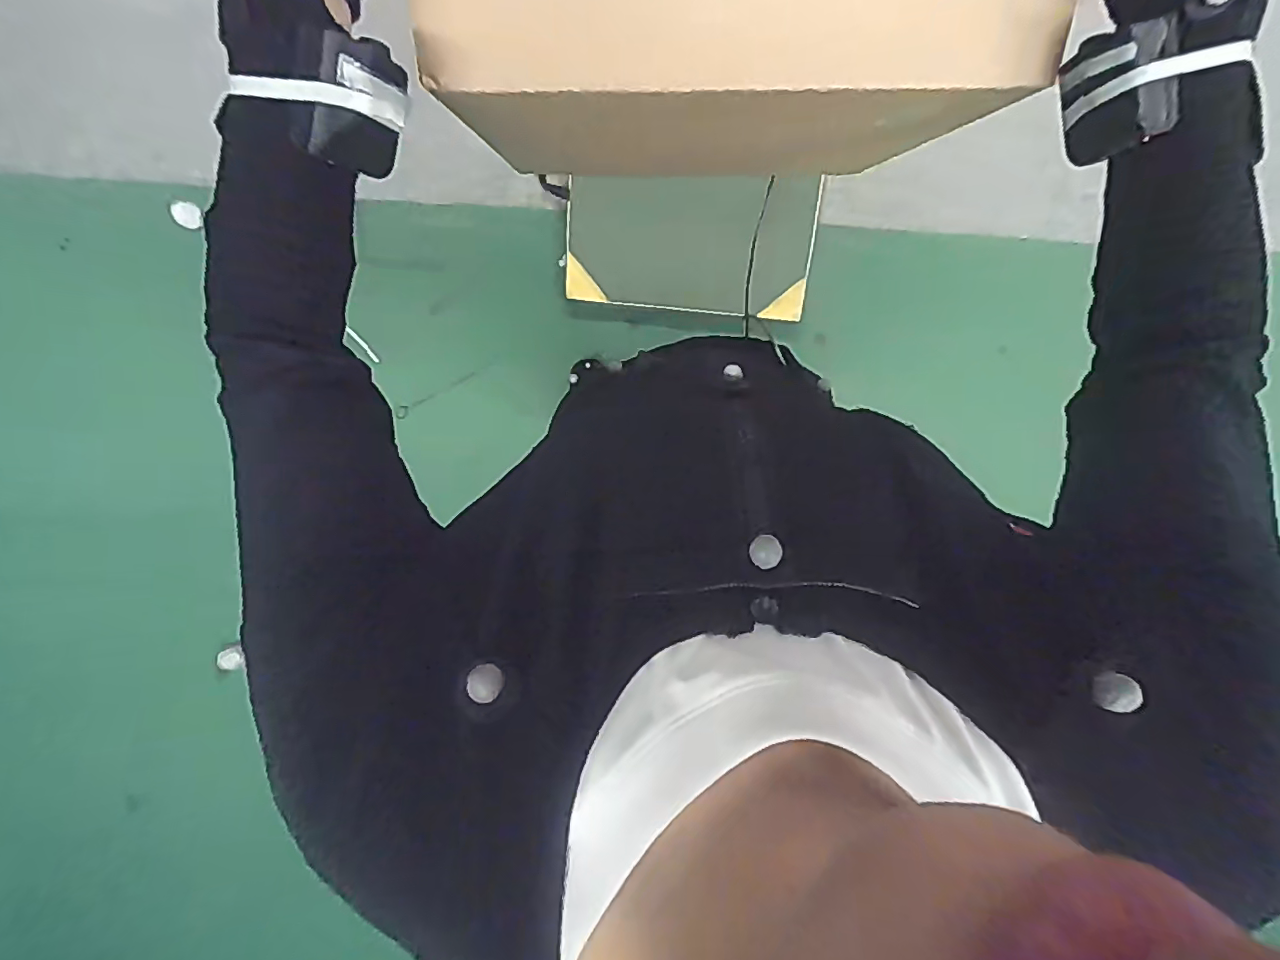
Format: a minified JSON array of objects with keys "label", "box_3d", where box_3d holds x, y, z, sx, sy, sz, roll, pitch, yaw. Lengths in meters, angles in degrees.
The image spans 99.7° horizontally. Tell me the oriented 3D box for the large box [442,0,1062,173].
[{"label":"large box","box_3d":[0.065,-0.456,0.442,0.408,0.320,0.320,-1,112,-2]}]
